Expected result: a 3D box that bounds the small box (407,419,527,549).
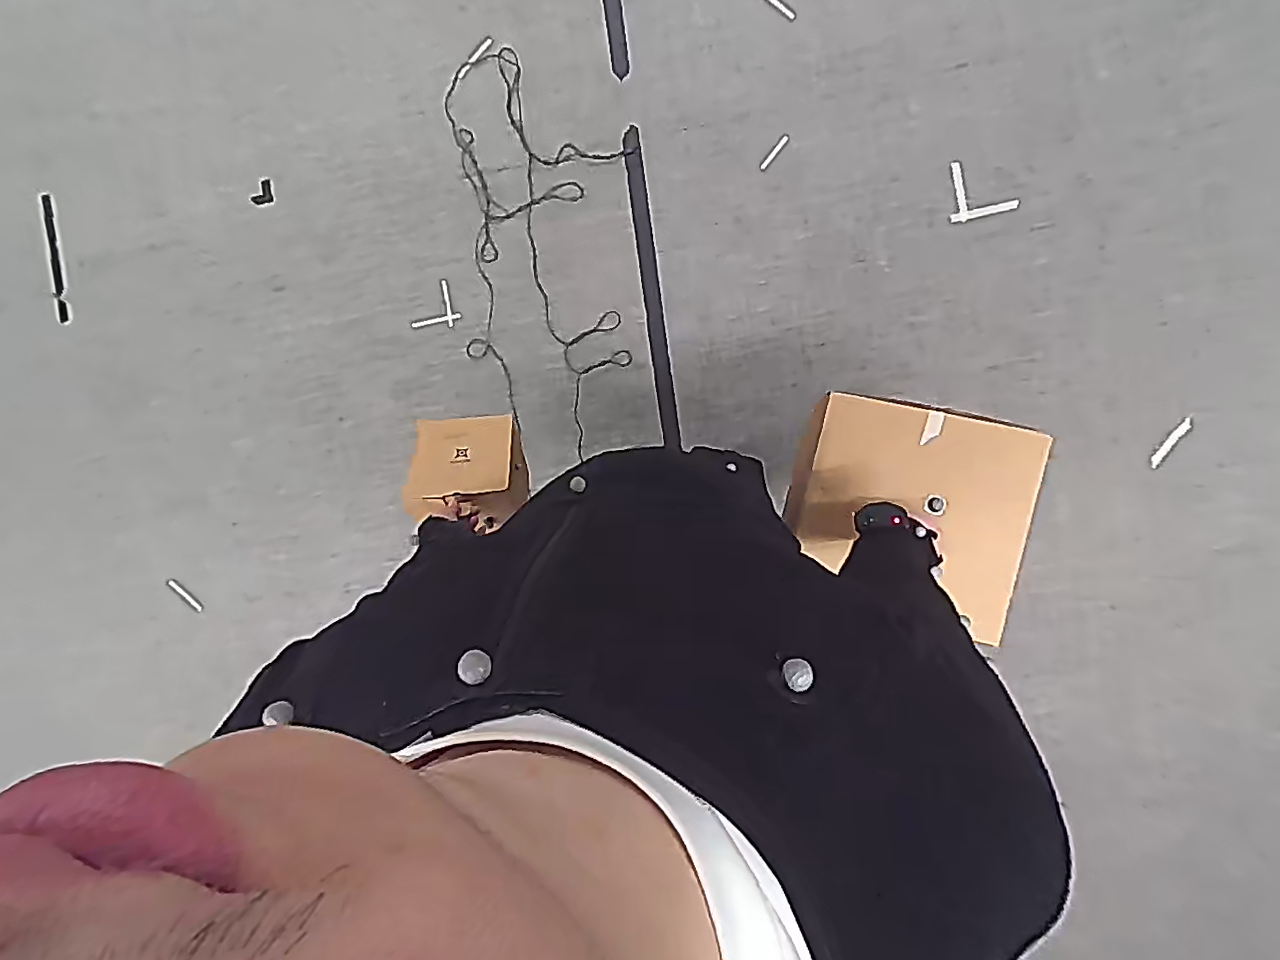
[{"bbox_3d":[-0.302,0.014,0.986,0.168,0.176,0.179,-5,50,-4],"label":"small box"}]
